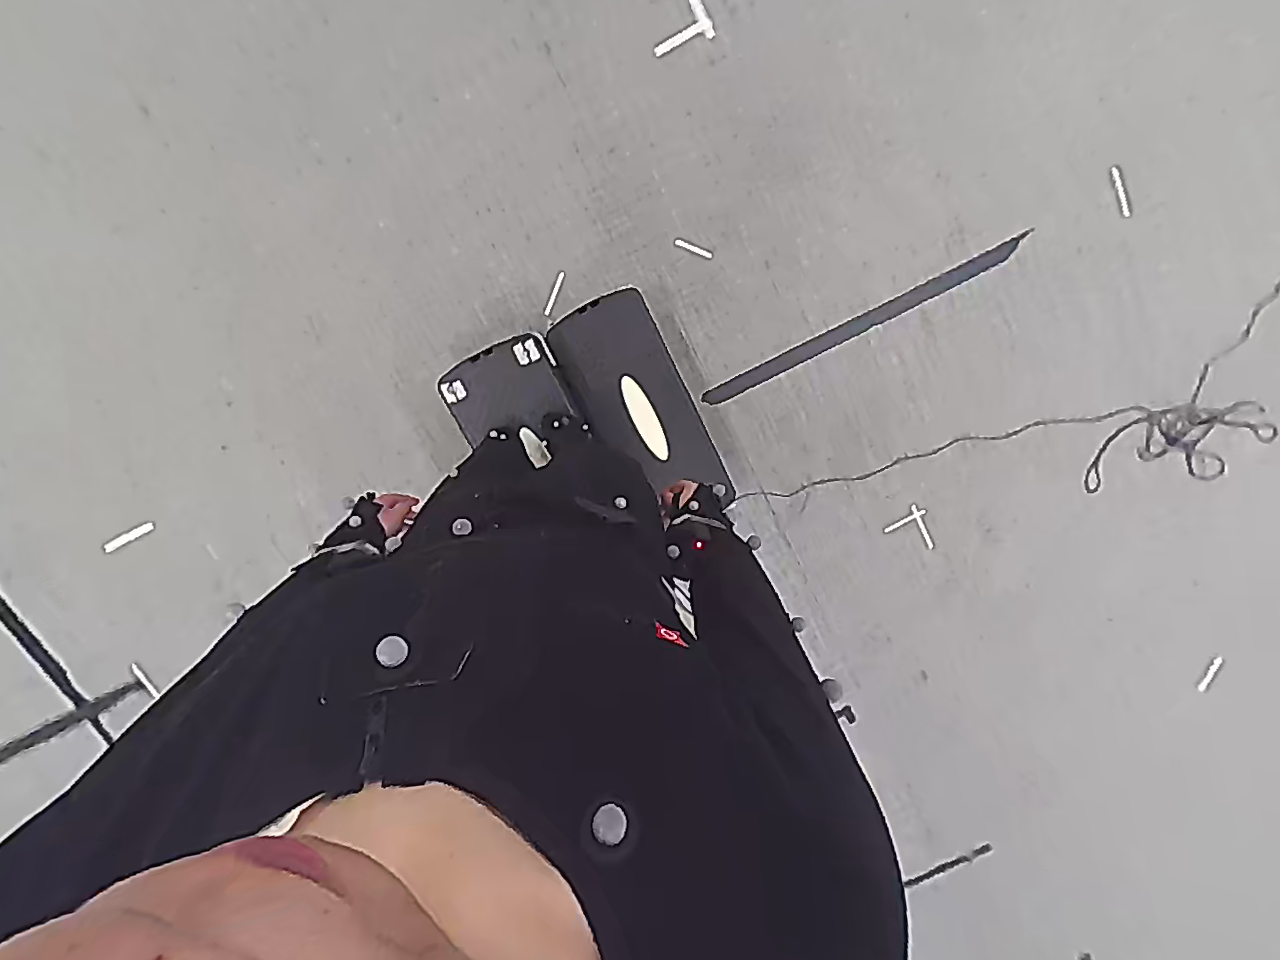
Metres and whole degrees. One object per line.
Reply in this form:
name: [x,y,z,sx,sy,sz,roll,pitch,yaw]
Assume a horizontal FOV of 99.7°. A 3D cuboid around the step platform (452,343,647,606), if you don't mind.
step platform: [-0.229,-0.010,1.450,0.286,0.204,0.684,-23,98,0]
